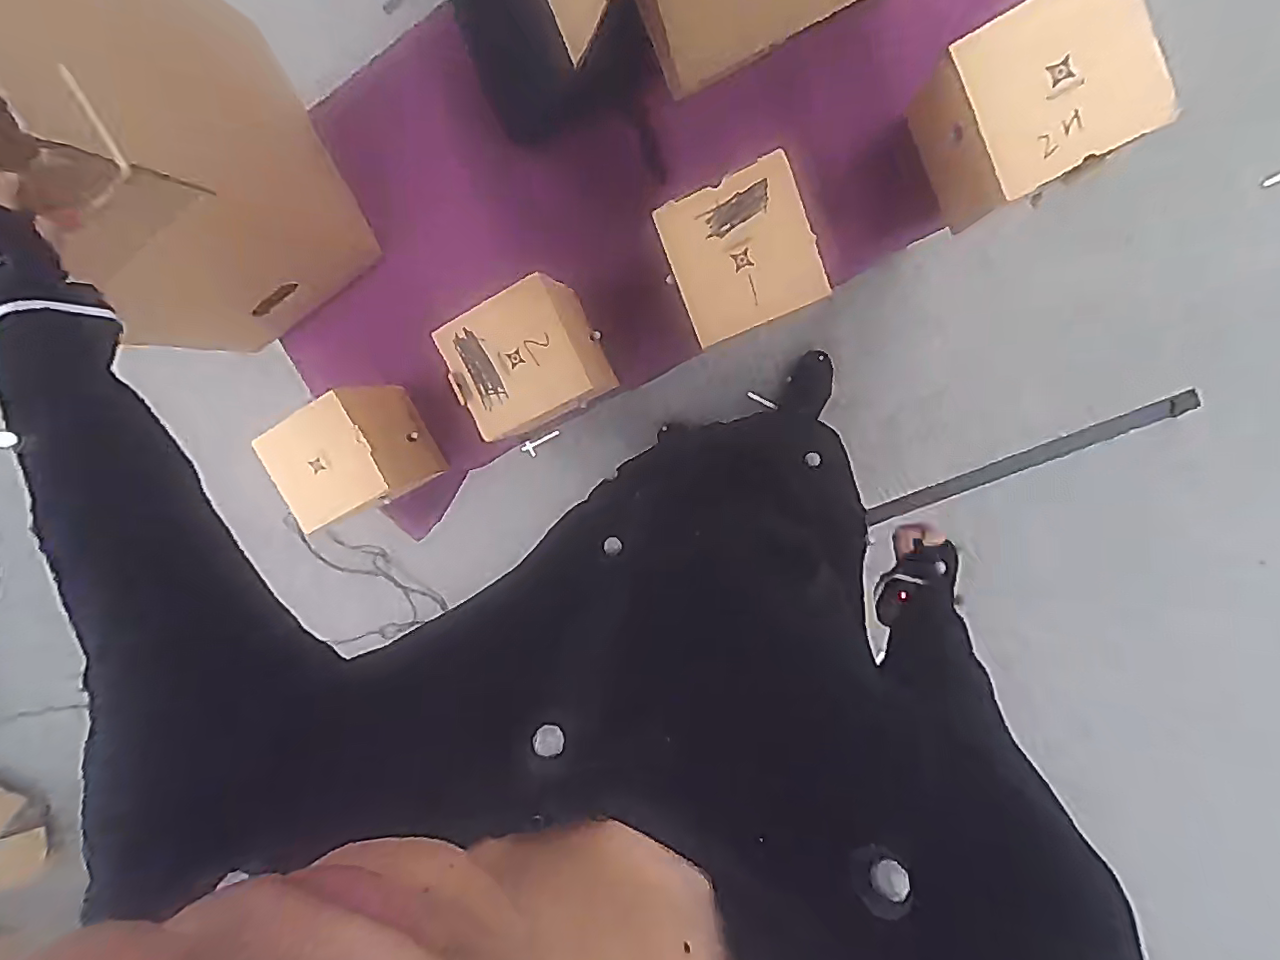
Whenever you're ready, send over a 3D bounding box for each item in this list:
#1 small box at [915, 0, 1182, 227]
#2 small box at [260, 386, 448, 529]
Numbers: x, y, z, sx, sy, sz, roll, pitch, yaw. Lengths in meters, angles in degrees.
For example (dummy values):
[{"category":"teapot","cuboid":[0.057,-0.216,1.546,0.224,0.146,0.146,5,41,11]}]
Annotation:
[{"category":"small box","cuboid":[0.446,-0.427,0.624,0.168,0.176,0.179,-24,97,16]},{"category":"small box","cuboid":[-0.455,-0.043,0.887,0.179,0.176,0.168,-26,96,14]}]
